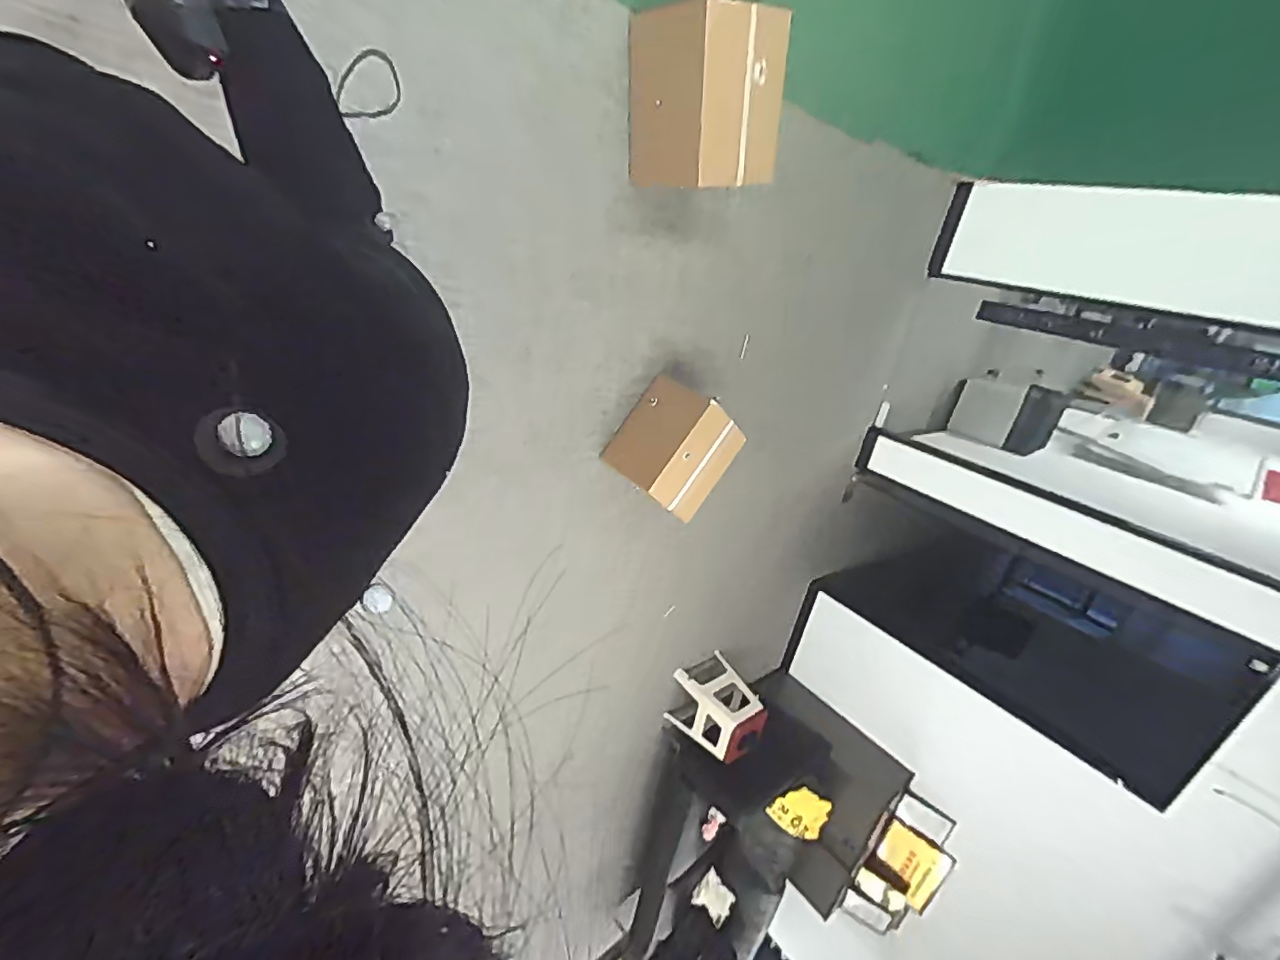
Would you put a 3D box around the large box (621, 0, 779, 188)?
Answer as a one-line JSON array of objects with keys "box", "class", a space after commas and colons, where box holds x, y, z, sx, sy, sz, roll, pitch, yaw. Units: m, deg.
[{"box": [0.161, -1.077, 1.546, 0.320, 0.320, 0.408, -24, 128, -33], "class": "large box"}]
